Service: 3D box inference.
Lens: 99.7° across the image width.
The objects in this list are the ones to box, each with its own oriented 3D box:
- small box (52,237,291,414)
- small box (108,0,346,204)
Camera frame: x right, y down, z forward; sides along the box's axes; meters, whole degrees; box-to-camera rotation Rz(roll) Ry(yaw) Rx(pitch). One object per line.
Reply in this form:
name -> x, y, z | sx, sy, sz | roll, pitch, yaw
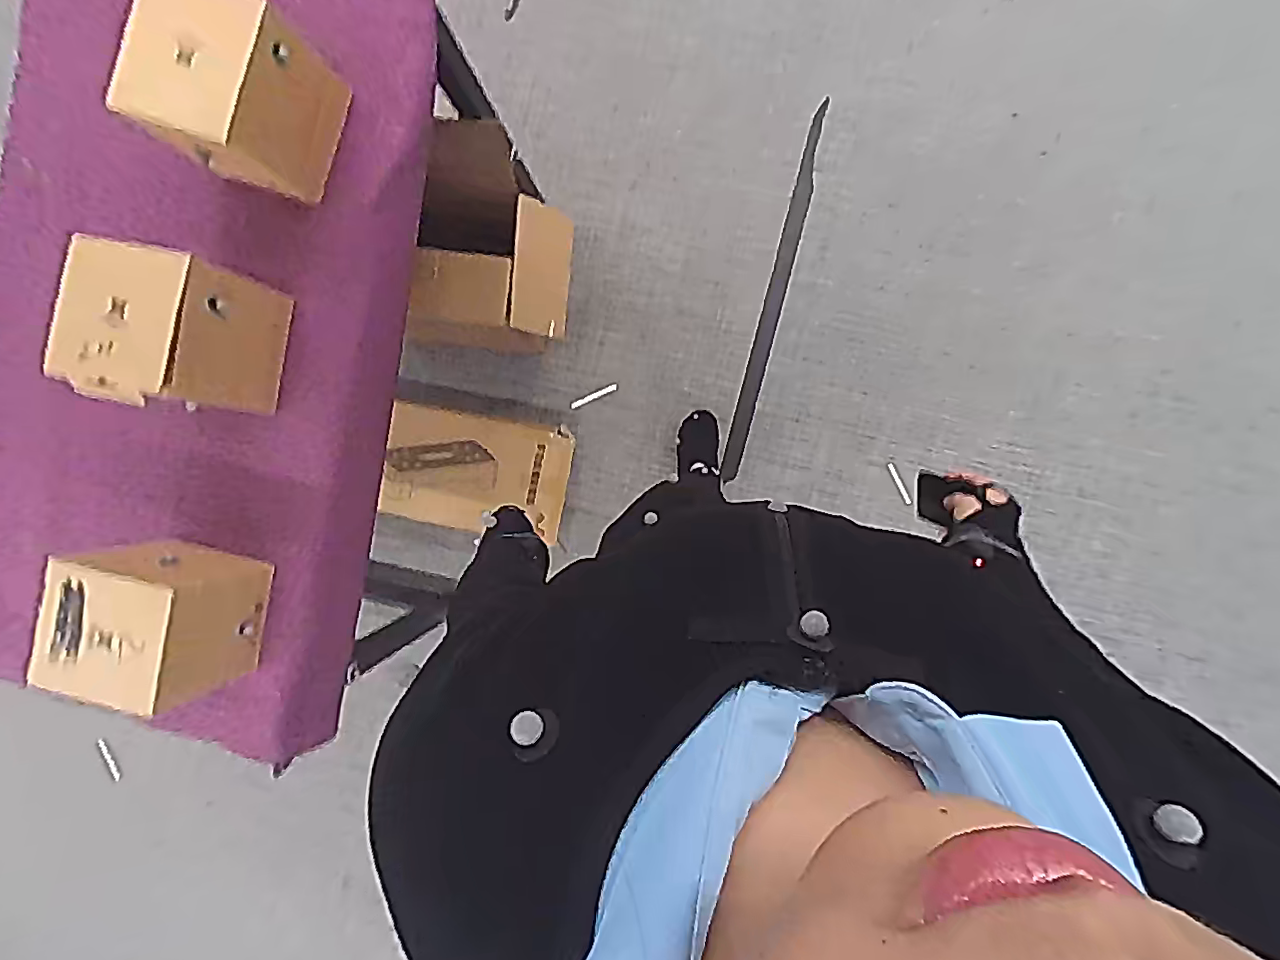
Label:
small box -> -0.612, -0.195, 0.728 | 0.168, 0.176, 0.179 | 11, 92, 7
small box -> -0.527, -0.502, 0.715 | 0.168, 0.176, 0.179 | 18, 92, 4
